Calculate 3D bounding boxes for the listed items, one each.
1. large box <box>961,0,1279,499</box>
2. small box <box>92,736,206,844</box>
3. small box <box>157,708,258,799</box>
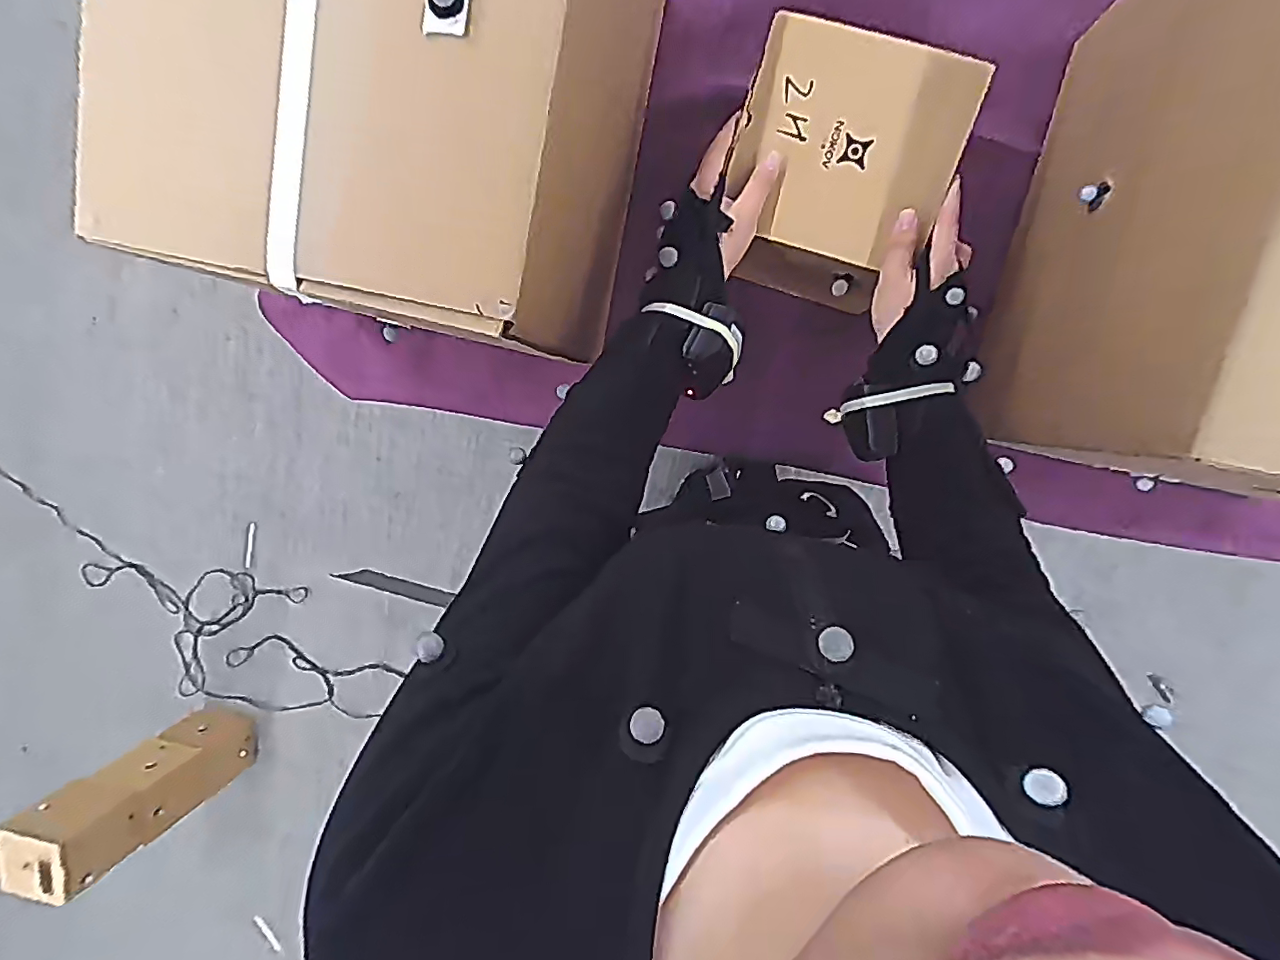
[{"bbox_3d":[0.507,-0.189,0.403,0.320,0.320,0.408,13,98,6],"label":"large box"},{"bbox_3d":[-1.317,0.828,1.460,0.168,0.176,0.179,9,100,7],"label":"small box"},{"bbox_3d":[-1.293,0.809,1.620,0.179,0.176,0.168,7,100,7],"label":"small box"}]
